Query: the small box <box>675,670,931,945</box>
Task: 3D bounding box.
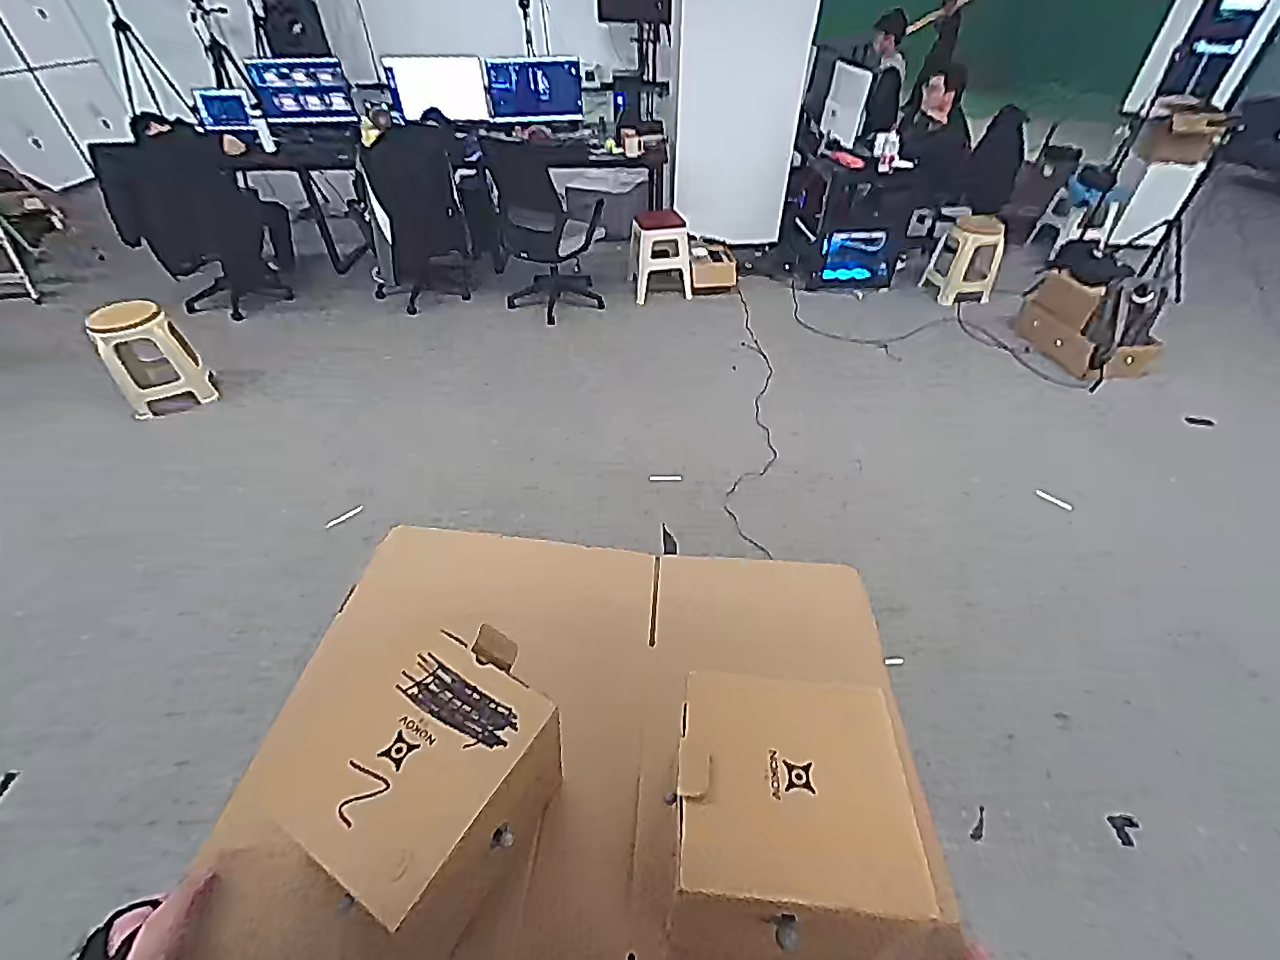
[{"bbox_3d":[0.125,0.297,0.491,0.179,0.176,0.168,3,41,5],"label":"small box"}]
